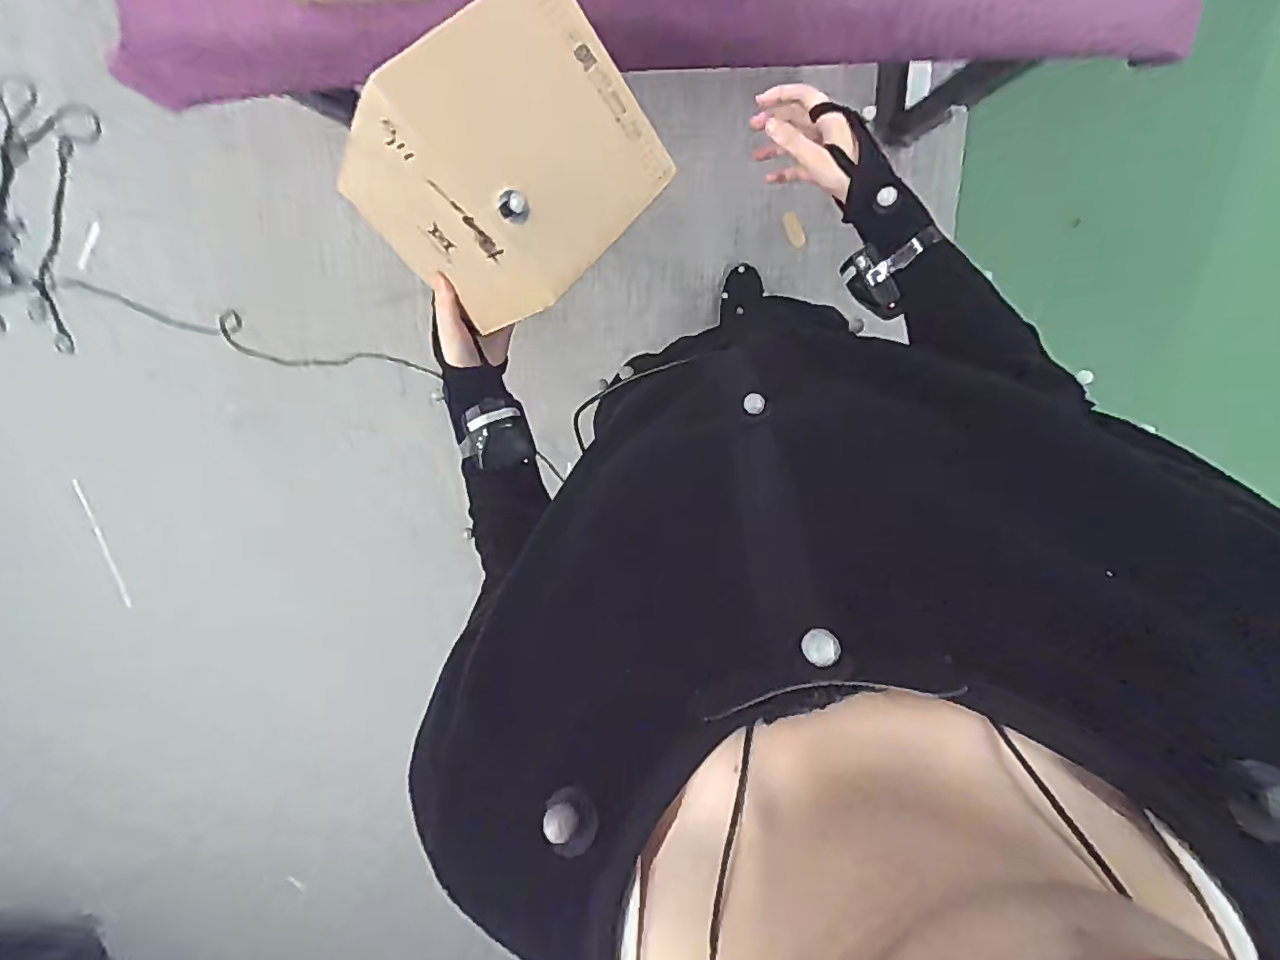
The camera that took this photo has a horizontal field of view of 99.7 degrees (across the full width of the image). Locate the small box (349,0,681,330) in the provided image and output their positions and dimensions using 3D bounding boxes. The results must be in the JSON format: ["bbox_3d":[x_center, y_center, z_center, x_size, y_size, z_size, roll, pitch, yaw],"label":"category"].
[{"bbox_3d":[-0.100,-0.251,0.444,0.168,0.179,0.176,48,68,-29],"label":"small box"}]

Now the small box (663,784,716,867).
[{"bbox_3d":[0.166,1.173,1.844,0.168,0.176,0.179,3,109,3],"label":"small box"}]

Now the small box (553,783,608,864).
[{"bbox_3d":[-0.204,1.179,1.866,0.168,0.176,0.179,2,110,3],"label":"small box"}]
